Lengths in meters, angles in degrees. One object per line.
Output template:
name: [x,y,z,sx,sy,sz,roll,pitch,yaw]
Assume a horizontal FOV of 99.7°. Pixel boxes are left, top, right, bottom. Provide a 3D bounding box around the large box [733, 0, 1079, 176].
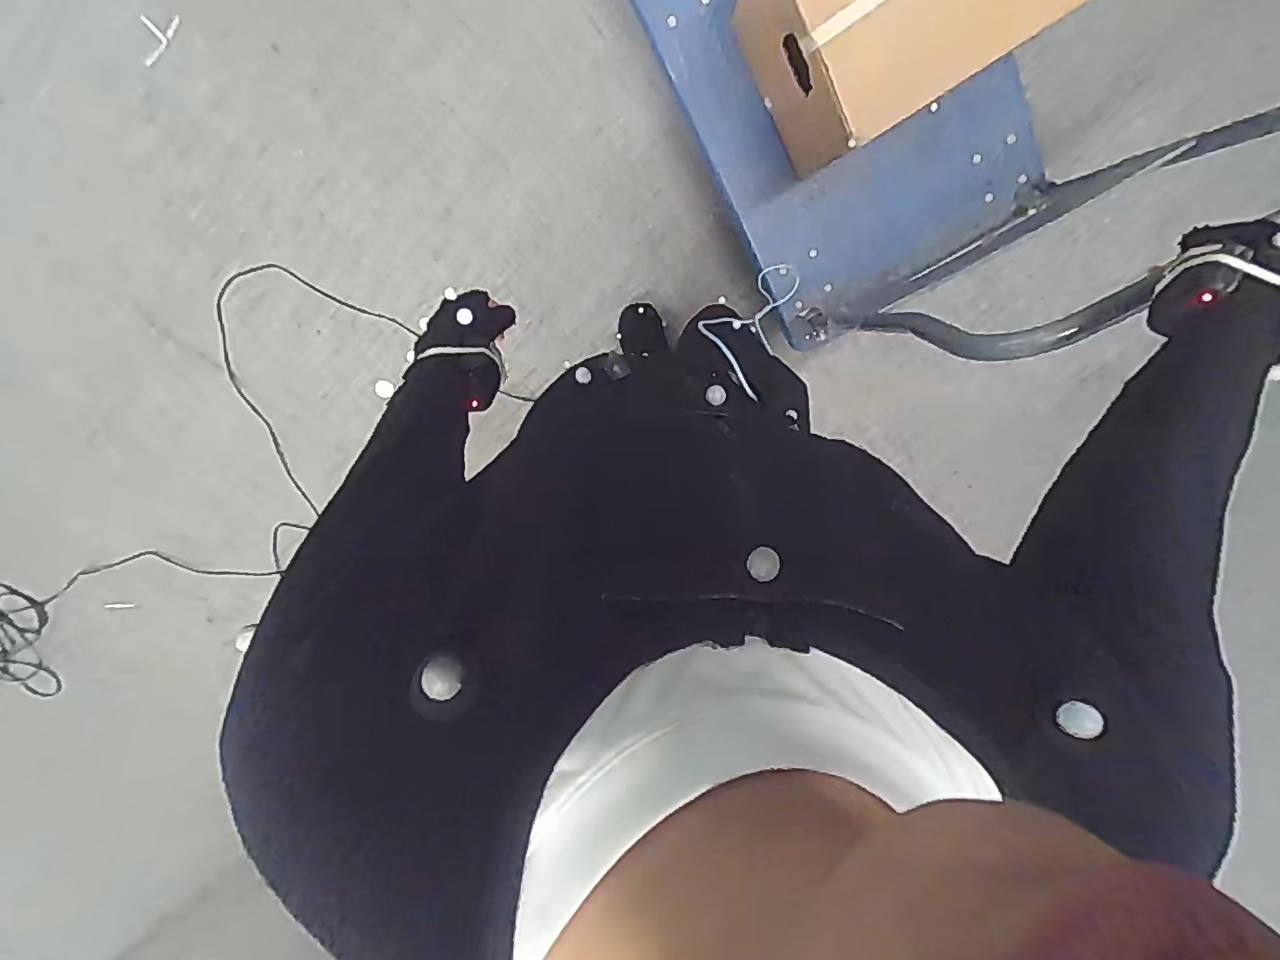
large box: [0.413,-0.778,0.879,0.408,0.320,0.320,-29,107,12]
